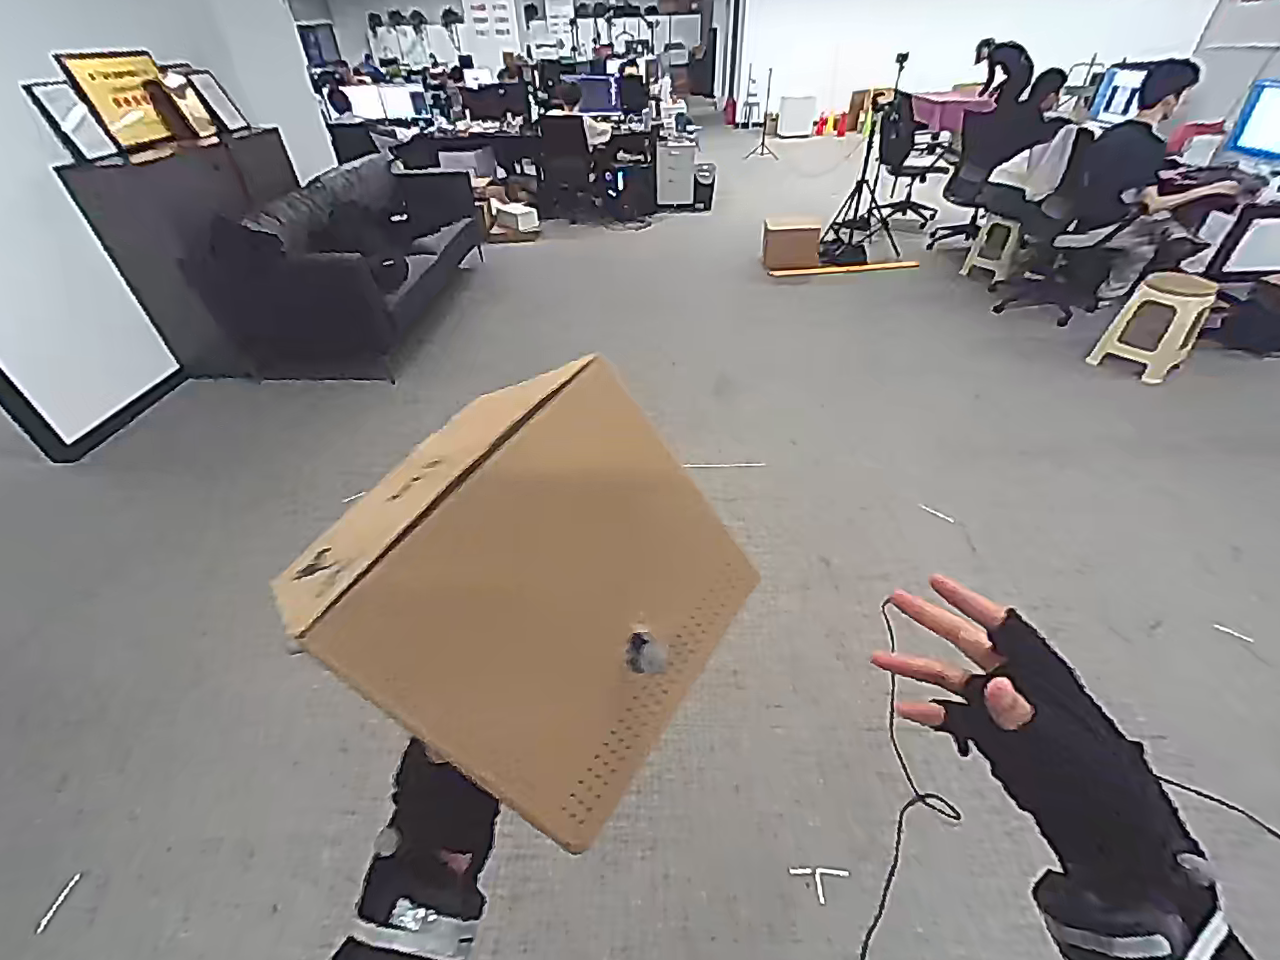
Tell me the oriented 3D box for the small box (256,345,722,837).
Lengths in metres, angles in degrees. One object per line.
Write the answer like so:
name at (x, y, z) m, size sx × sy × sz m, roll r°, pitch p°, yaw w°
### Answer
small box at (-0.077, 0.053, 0.316) m, size 0.168 × 0.176 × 0.179 m, roll -3°, pitch 41°, yaw 53°
